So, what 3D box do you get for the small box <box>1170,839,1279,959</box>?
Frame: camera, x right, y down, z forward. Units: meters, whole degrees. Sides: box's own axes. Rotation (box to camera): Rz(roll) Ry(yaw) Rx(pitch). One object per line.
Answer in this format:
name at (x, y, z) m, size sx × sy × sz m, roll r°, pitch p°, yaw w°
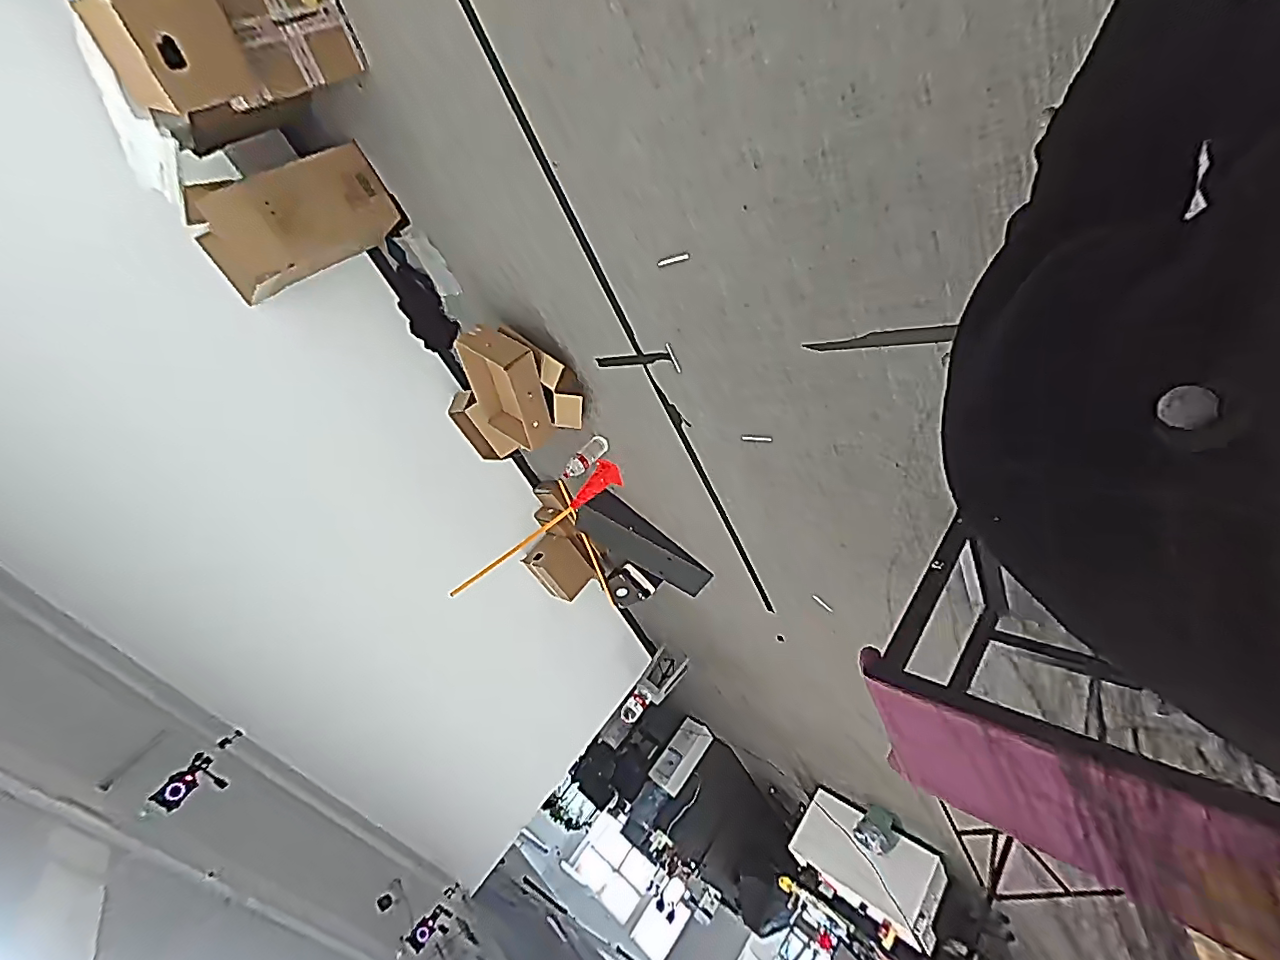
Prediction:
small box at (1.167, 0.853, 1.052) m, size 0.179 × 0.176 × 0.168 m, roll 8°, pitch 136°, yaw 51°
